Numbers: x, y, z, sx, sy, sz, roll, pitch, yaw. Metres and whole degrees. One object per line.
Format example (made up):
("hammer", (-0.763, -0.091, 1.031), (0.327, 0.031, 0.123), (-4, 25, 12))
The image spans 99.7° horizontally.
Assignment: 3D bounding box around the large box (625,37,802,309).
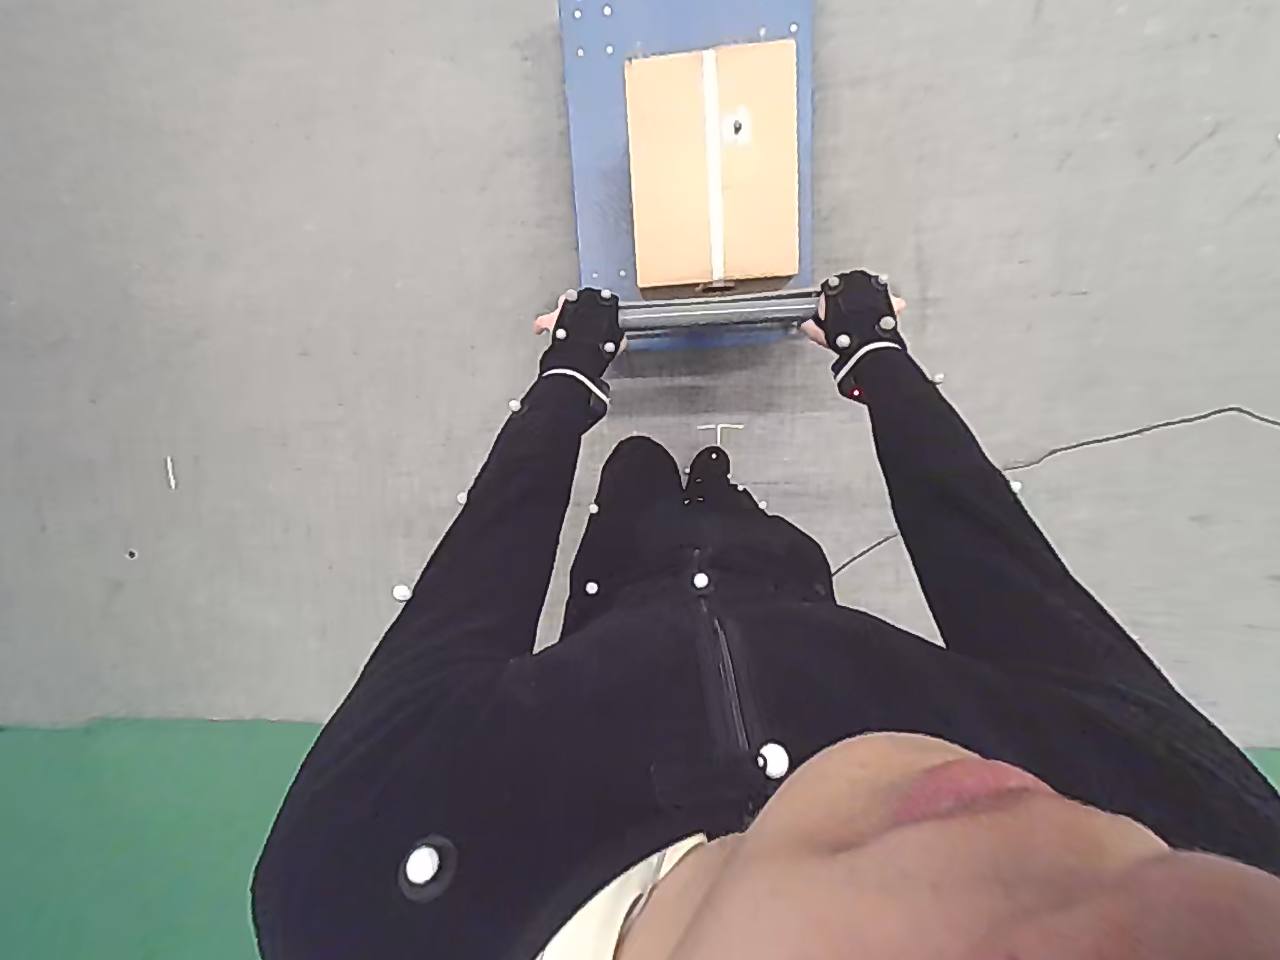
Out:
("large box", (0.152, -0.606, 1.151), (0.320, 0.320, 0.408), (-3, 99, 5))
